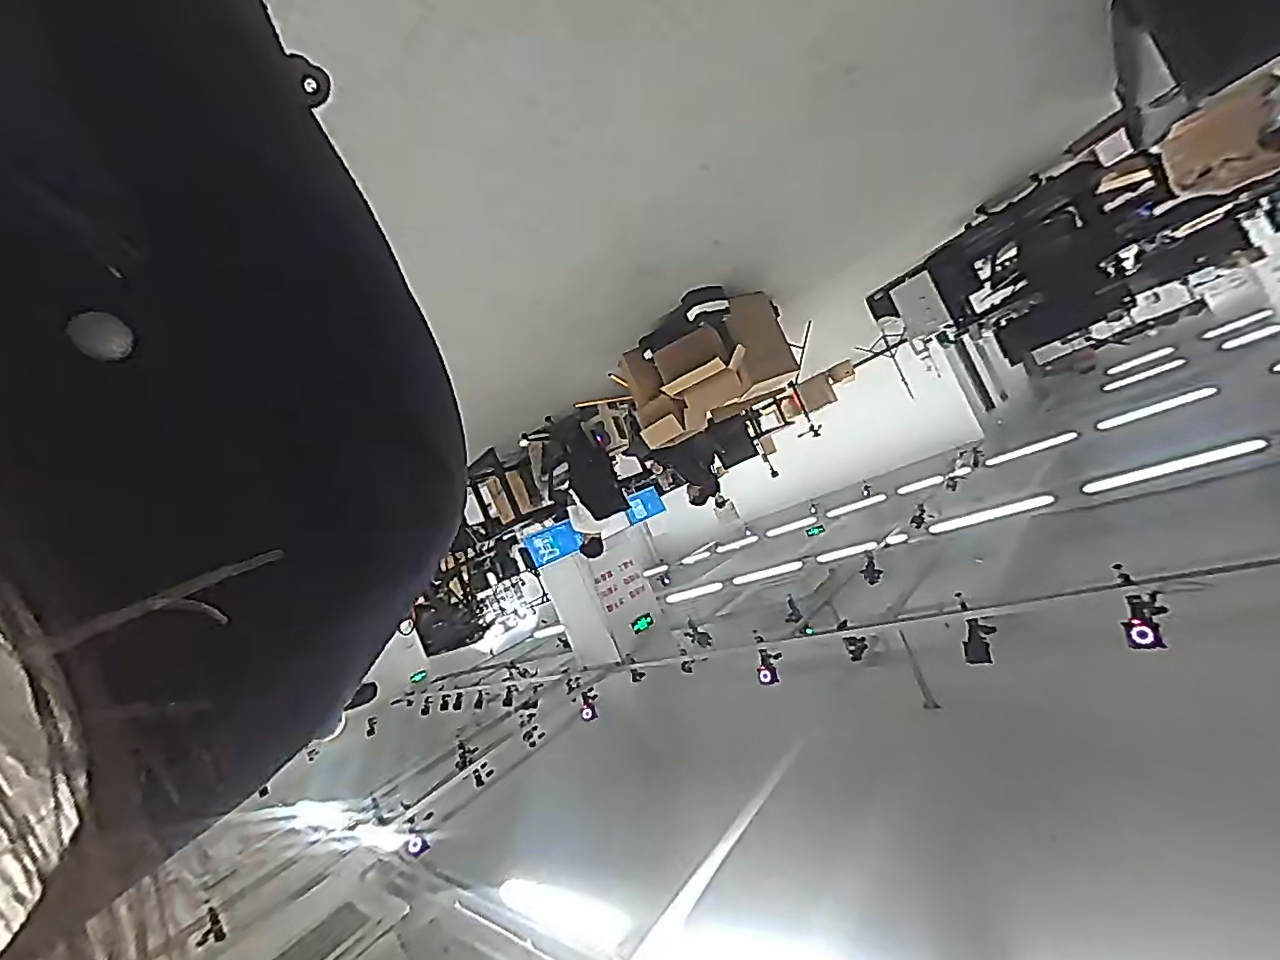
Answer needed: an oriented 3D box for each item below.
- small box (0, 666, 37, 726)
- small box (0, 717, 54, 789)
[{"bbox_3d":[-1.976,0.677,1.622,0.179,0.176,0.168,-20,173,-44],"label":"small box"},{"bbox_3d":[-1.913,0.827,1.615,0.168,0.176,0.179,-22,175,-43],"label":"small box"}]
